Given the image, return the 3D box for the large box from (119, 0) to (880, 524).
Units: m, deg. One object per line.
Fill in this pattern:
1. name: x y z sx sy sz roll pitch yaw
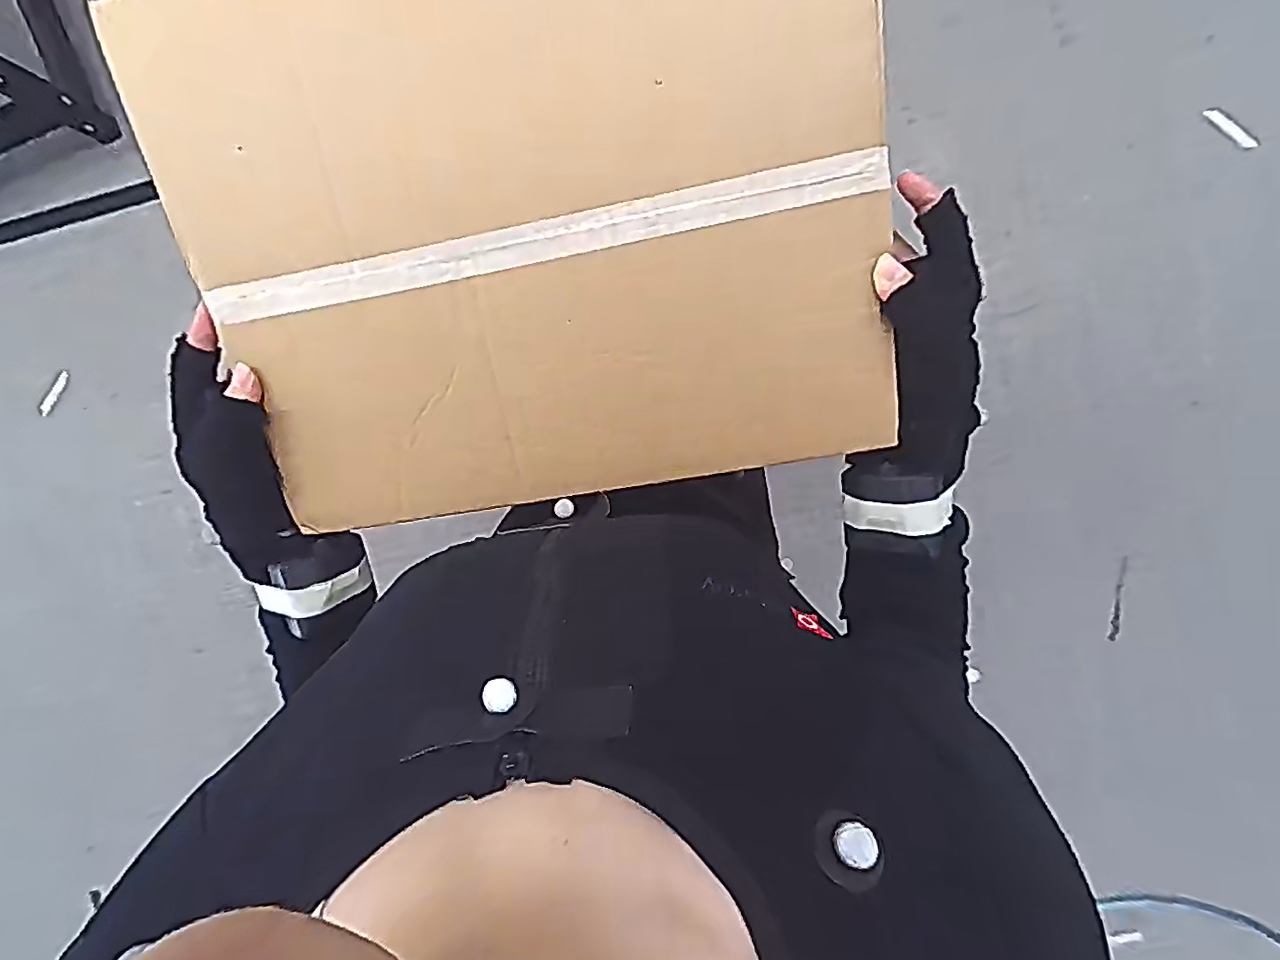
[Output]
1. large box: -0.059 -0.191 0.463 0.408 0.320 0.320 -9 107 6
